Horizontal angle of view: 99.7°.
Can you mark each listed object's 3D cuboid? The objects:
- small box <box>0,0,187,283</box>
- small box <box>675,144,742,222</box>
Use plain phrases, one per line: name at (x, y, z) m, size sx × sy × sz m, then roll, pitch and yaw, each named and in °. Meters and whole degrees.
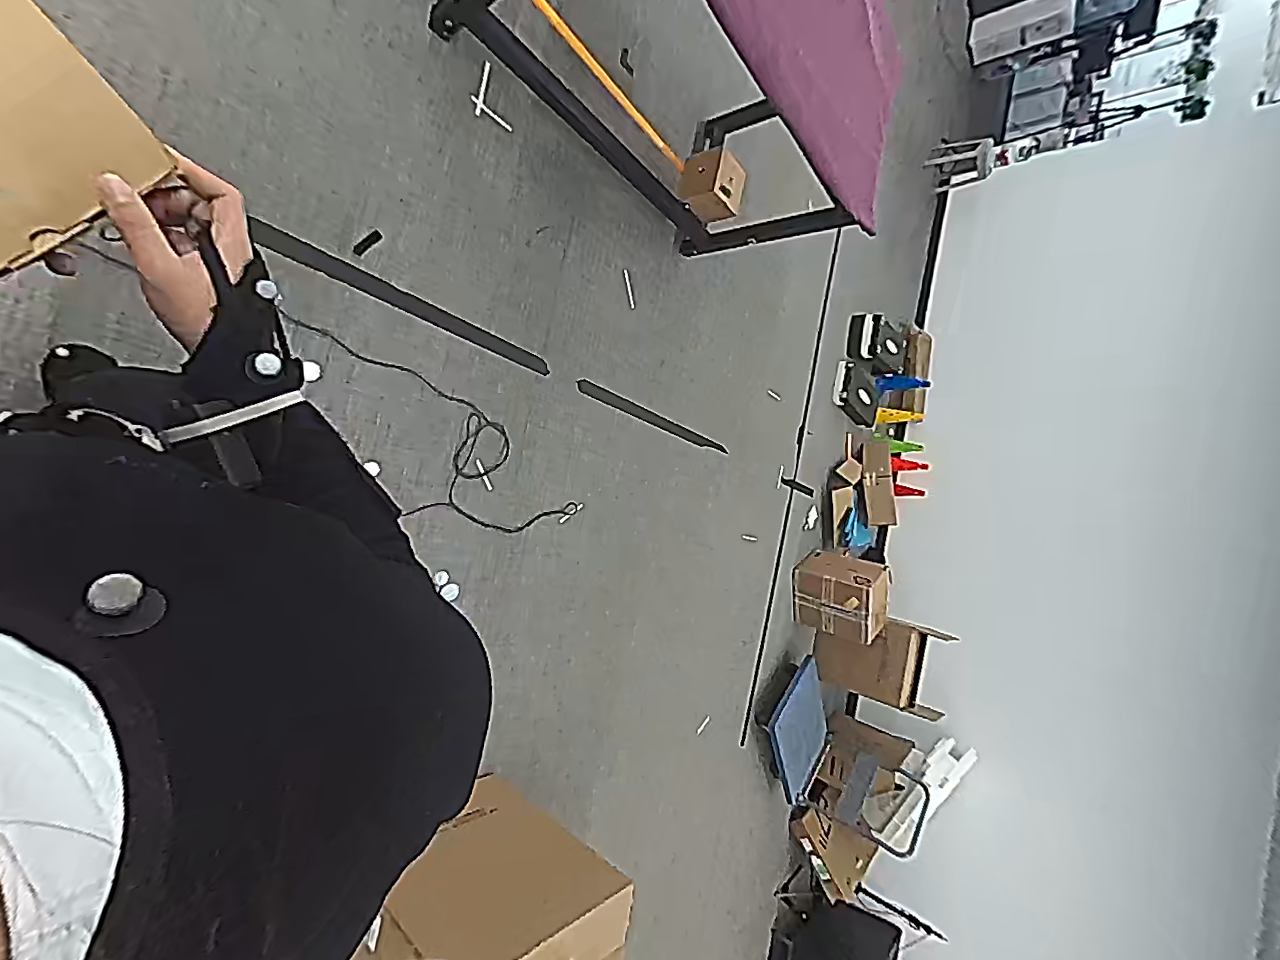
small box at (-0.404, -0.202, 0.284) m, size 0.168 × 0.176 × 0.179 m, roll -50°, pitch 137°, yaw -21°
small box at (0.250, -1.083, 1.989) m, size 0.168 × 0.176 × 0.179 m, roll 17°, pitch 83°, yaw -50°
